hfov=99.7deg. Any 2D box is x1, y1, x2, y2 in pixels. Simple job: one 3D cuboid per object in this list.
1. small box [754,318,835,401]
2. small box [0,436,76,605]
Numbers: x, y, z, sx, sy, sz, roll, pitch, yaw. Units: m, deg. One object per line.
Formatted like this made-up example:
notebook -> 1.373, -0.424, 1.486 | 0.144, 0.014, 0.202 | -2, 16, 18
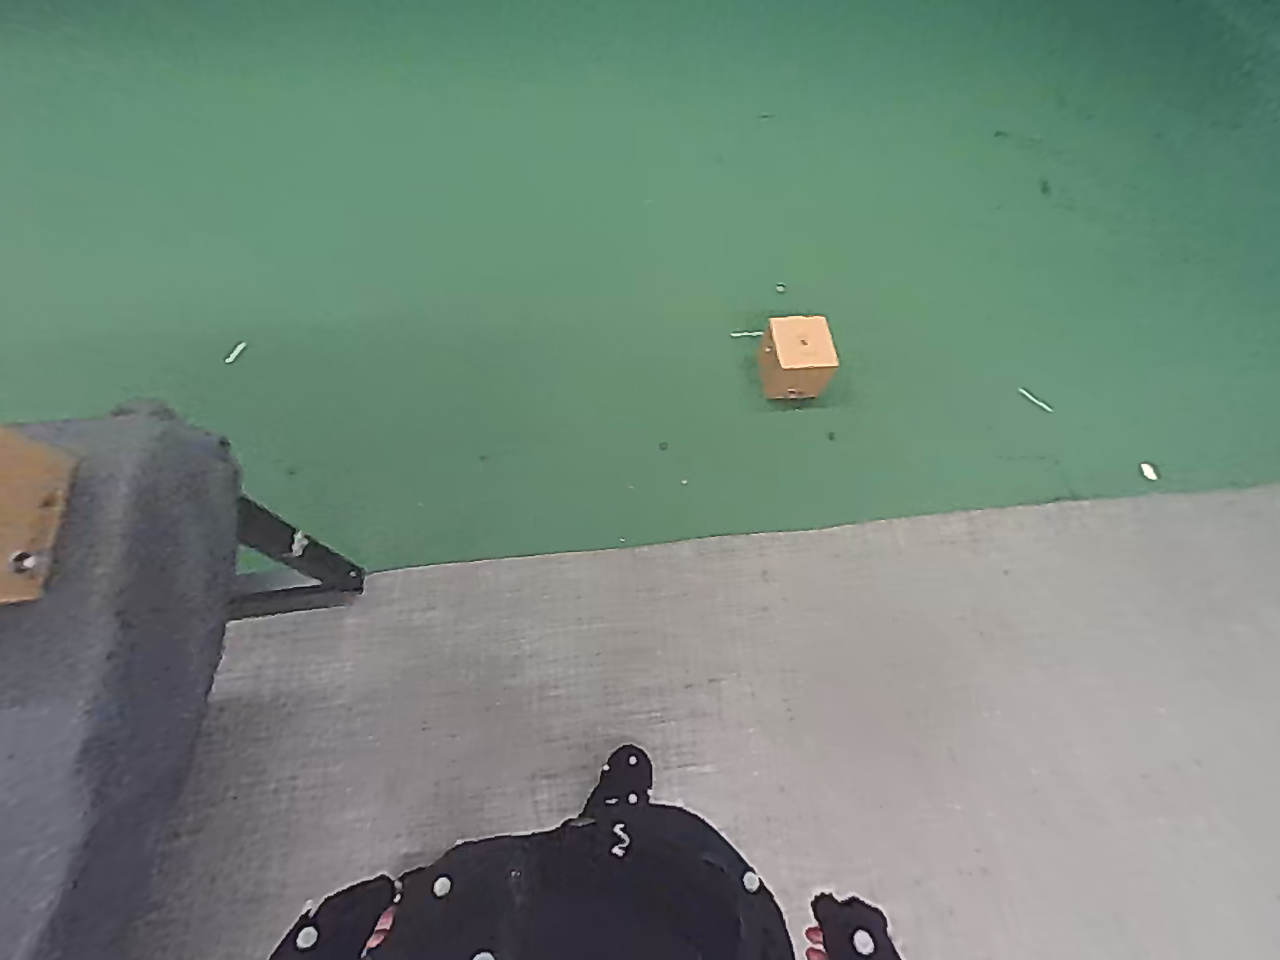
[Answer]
small box -> 0.448, -0.355, 1.598 | 0.168, 0.176, 0.179 | -5, 68, -5
small box -> -0.734, 0.035, 0.533 | 0.179, 0.176, 0.168 | -6, 69, -5
